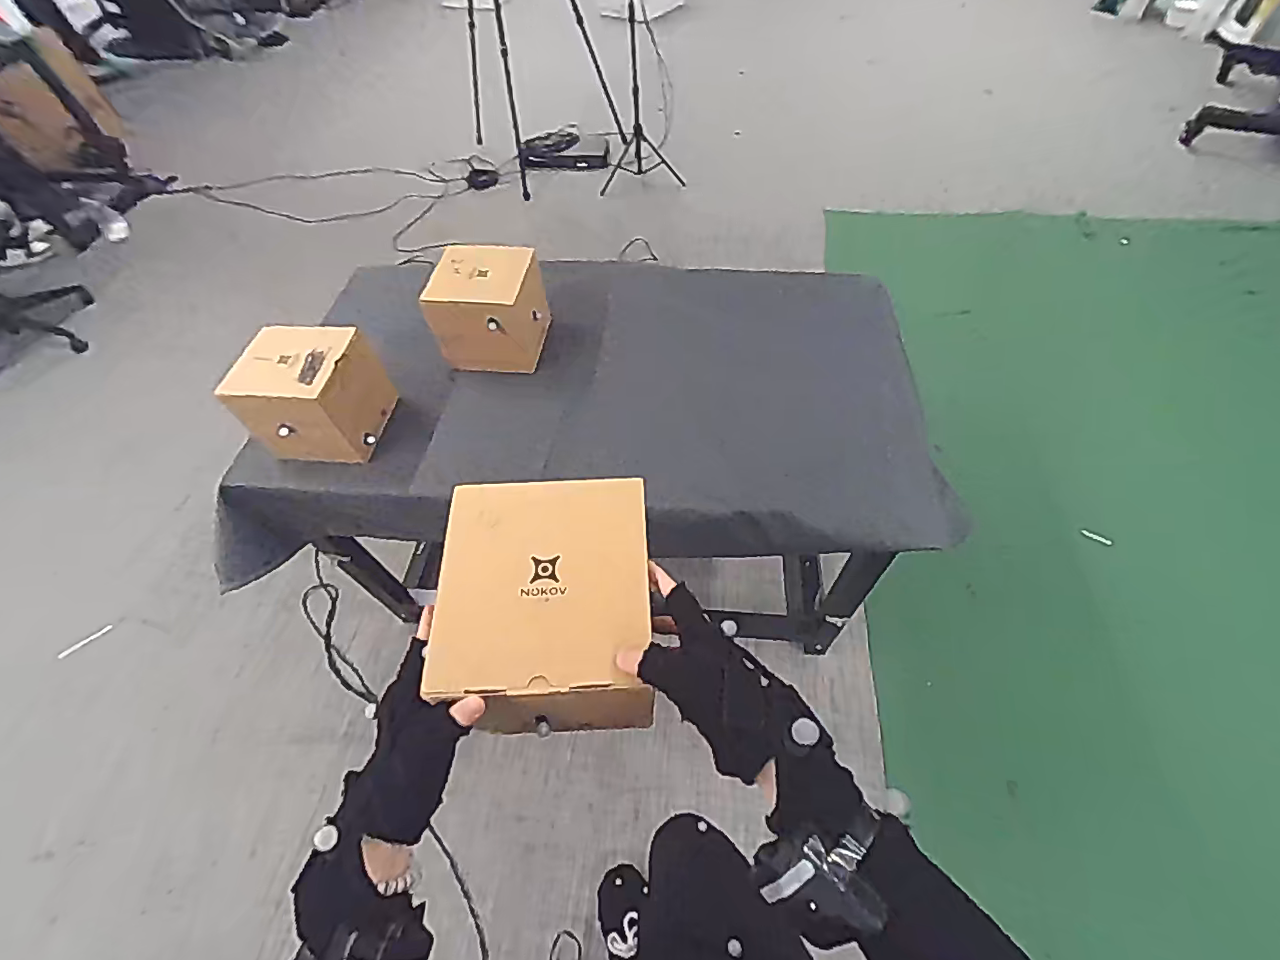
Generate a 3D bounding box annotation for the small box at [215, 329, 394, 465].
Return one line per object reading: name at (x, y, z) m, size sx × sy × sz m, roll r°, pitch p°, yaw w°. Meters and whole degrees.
small box at (-0.561, -0.140, 0.937) m, size 0.179 × 0.176 × 0.168 m, roll 3°, pitch 55°, yaw 6°

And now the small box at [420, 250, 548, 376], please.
small box at (-0.287, -0.318, 1.046) m, size 0.179 × 0.176 × 0.168 m, roll 5°, pitch 56°, yaw 6°
